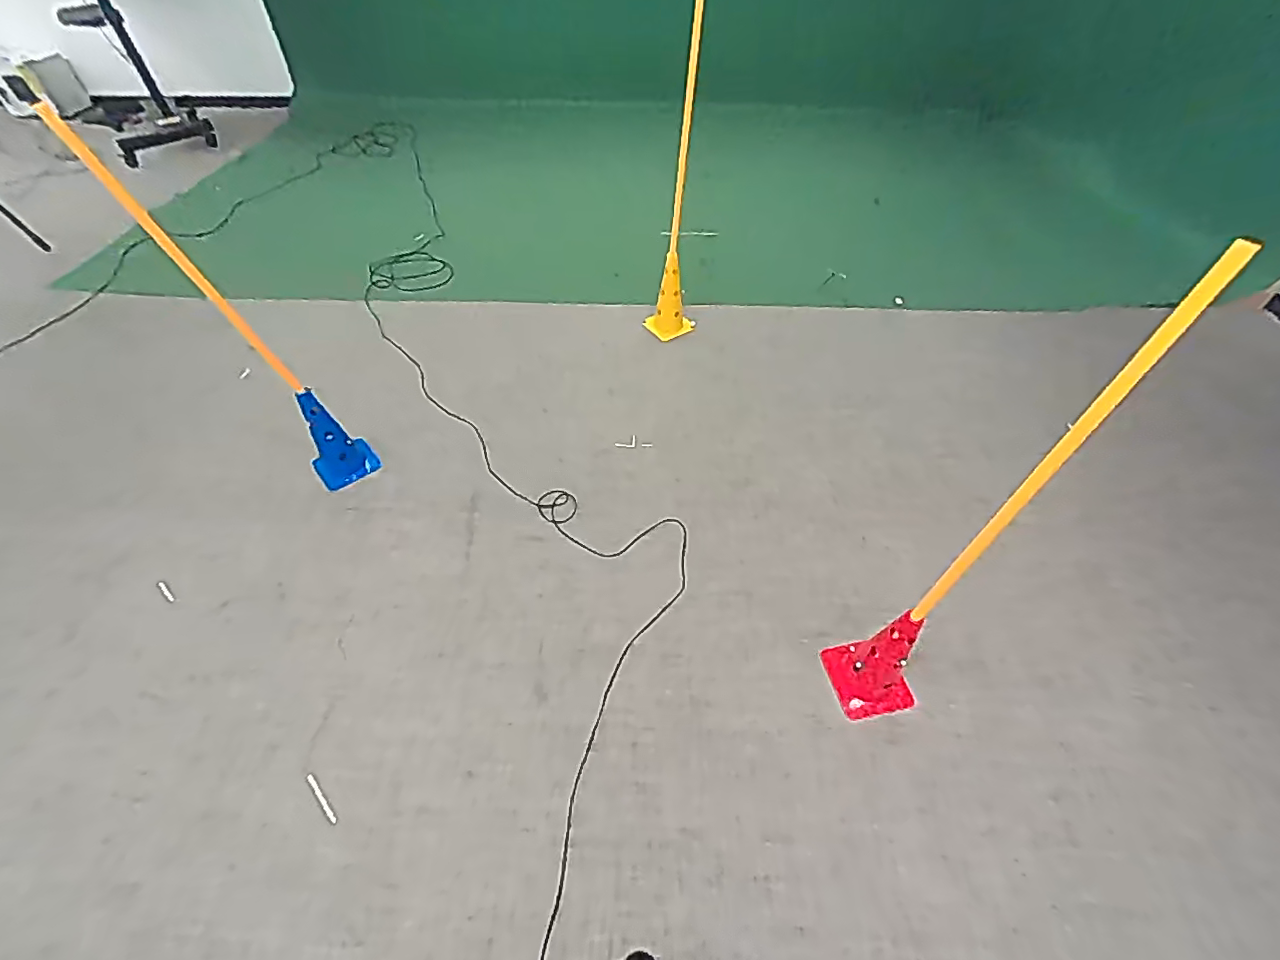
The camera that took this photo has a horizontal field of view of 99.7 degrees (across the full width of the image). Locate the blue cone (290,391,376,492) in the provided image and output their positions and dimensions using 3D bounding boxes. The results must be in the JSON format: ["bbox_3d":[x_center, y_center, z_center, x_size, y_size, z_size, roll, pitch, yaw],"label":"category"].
[{"bbox_3d":[-1.088,-0.150,1.858,0.193,0.380,0.192,-37,59,-25],"label":"blue cone"}]
